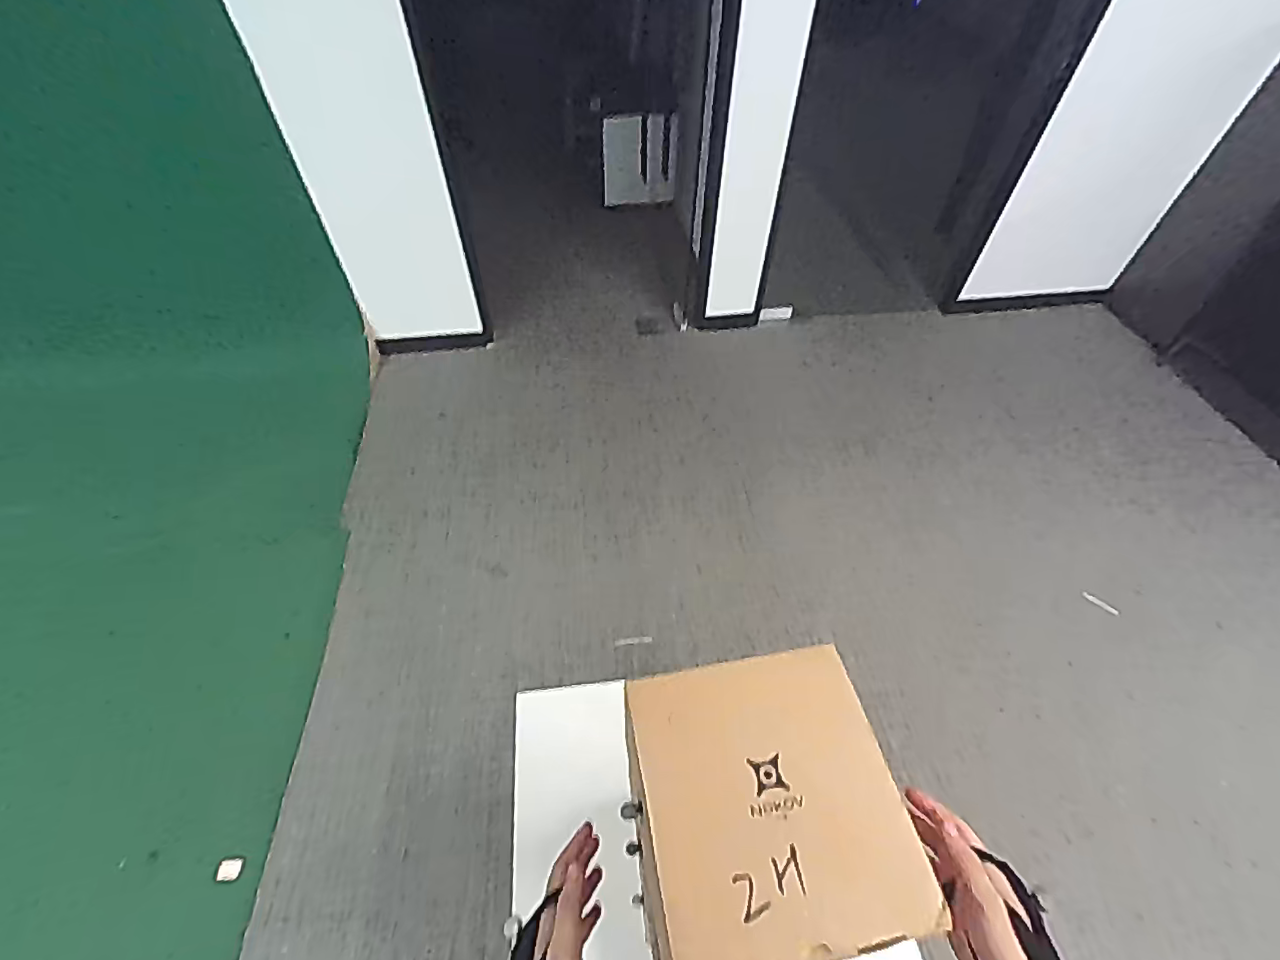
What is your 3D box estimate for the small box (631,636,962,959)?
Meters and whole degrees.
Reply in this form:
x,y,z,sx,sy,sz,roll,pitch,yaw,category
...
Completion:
x,y,z,sx,sy,sz,roll,pitch,yaw,category
0.085,0.245,0.407,0.168,0.176,0.179,-8,50,-7,small box
